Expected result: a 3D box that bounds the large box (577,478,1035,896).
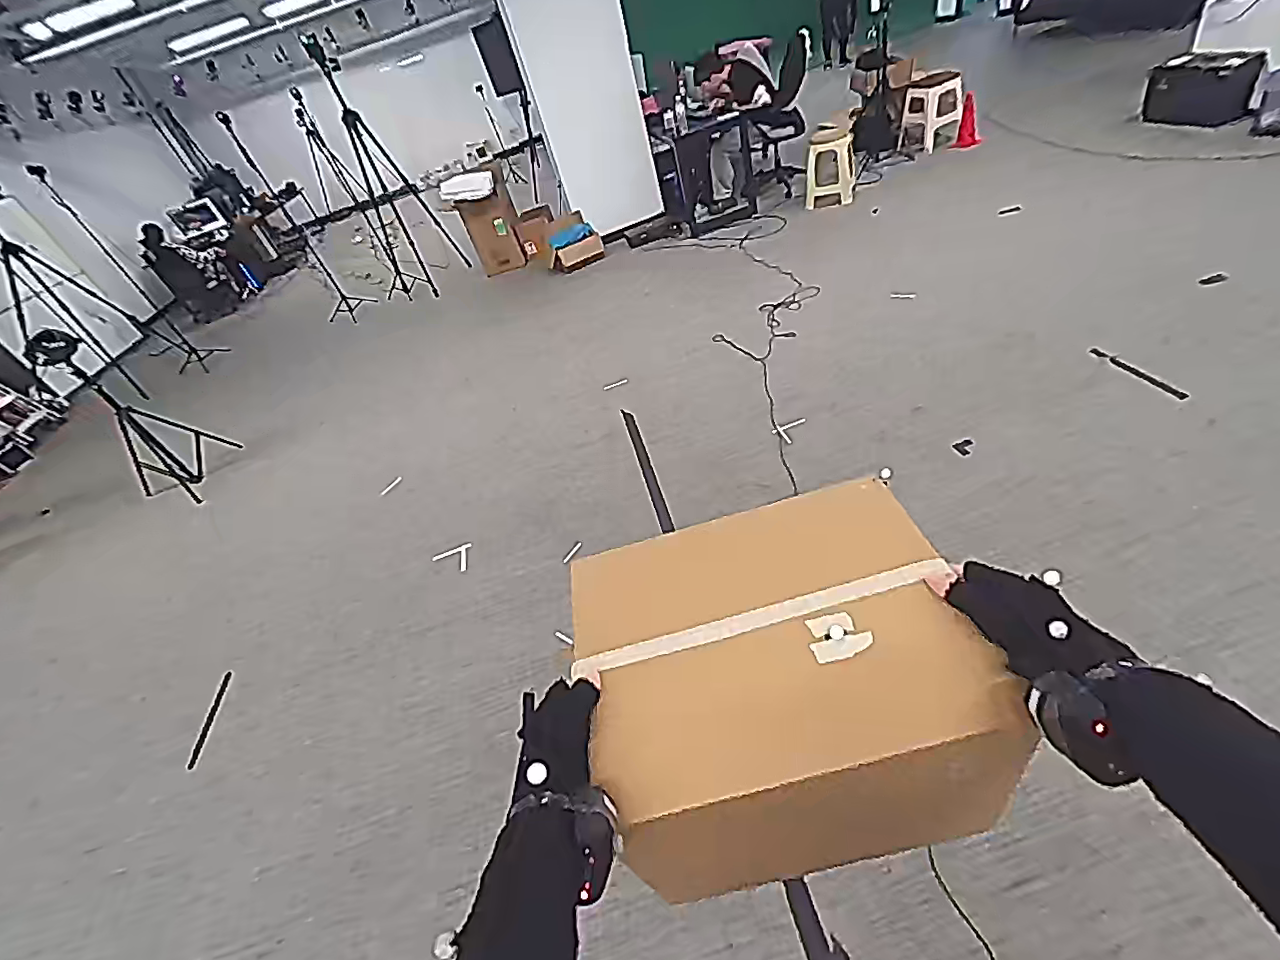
[{"bbox_3d":[0.165,0.257,0.678,0.408,0.320,0.320,-16,41,3],"label":"large box"}]
